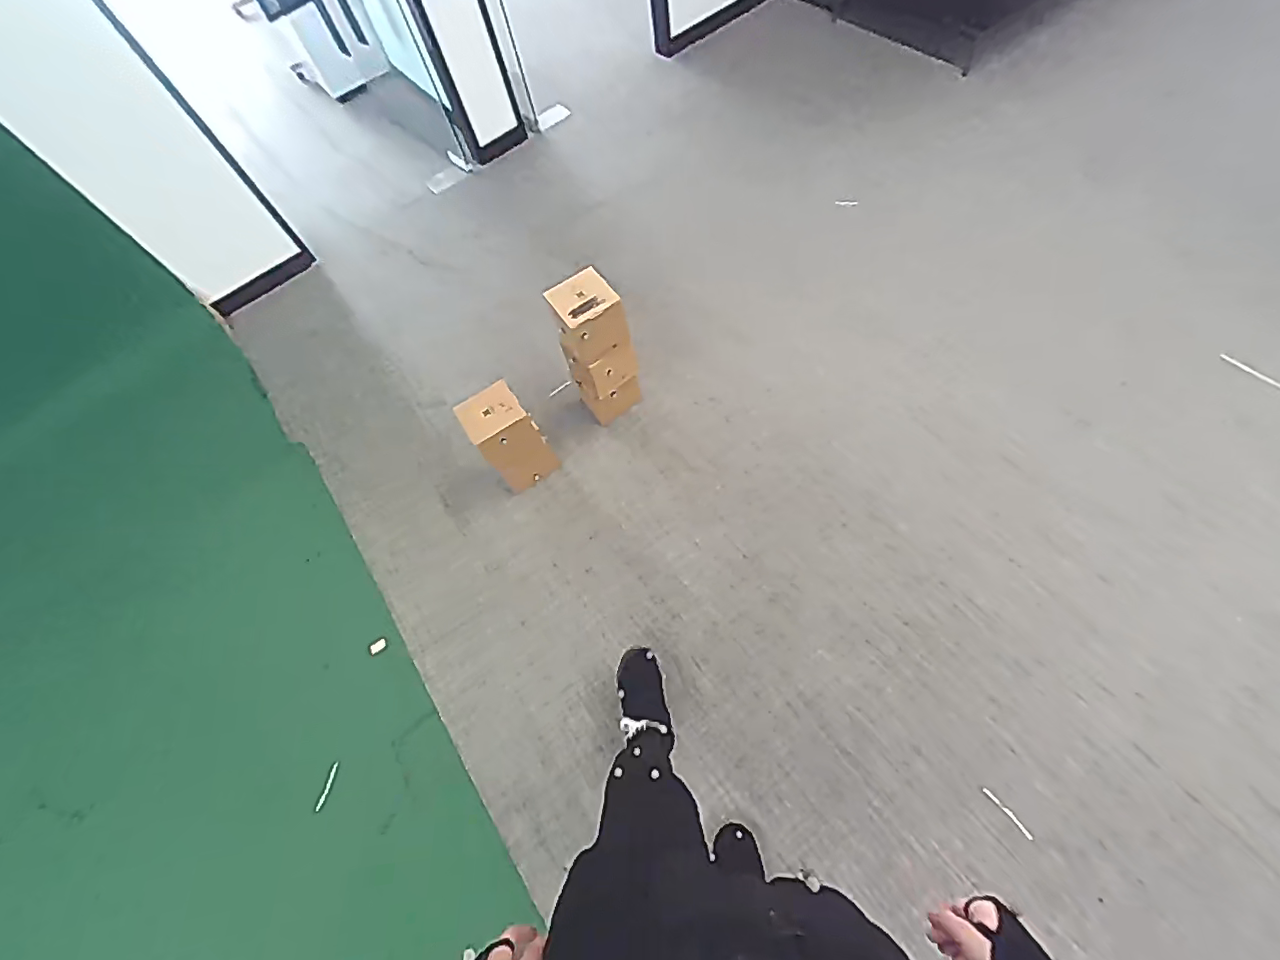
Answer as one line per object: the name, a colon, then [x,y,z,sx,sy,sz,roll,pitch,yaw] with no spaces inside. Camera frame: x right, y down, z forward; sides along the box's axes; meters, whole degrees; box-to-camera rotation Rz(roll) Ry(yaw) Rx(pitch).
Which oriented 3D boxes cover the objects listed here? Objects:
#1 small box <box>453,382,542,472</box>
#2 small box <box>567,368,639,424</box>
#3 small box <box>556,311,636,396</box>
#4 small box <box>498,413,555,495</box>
small box: [-0.427,-0.154,1.639,0.179,0.176,0.168,-33,63,-8]
small box: [-0.122,-0.325,1.863,0.179,0.176,0.168,-35,63,-10]
small box: [-0.132,-0.391,1.715,0.168,0.176,0.179,-39,63,-11]
small box: [-0.396,-0.083,1.785,0.179,0.176,0.168,-34,63,-9]
